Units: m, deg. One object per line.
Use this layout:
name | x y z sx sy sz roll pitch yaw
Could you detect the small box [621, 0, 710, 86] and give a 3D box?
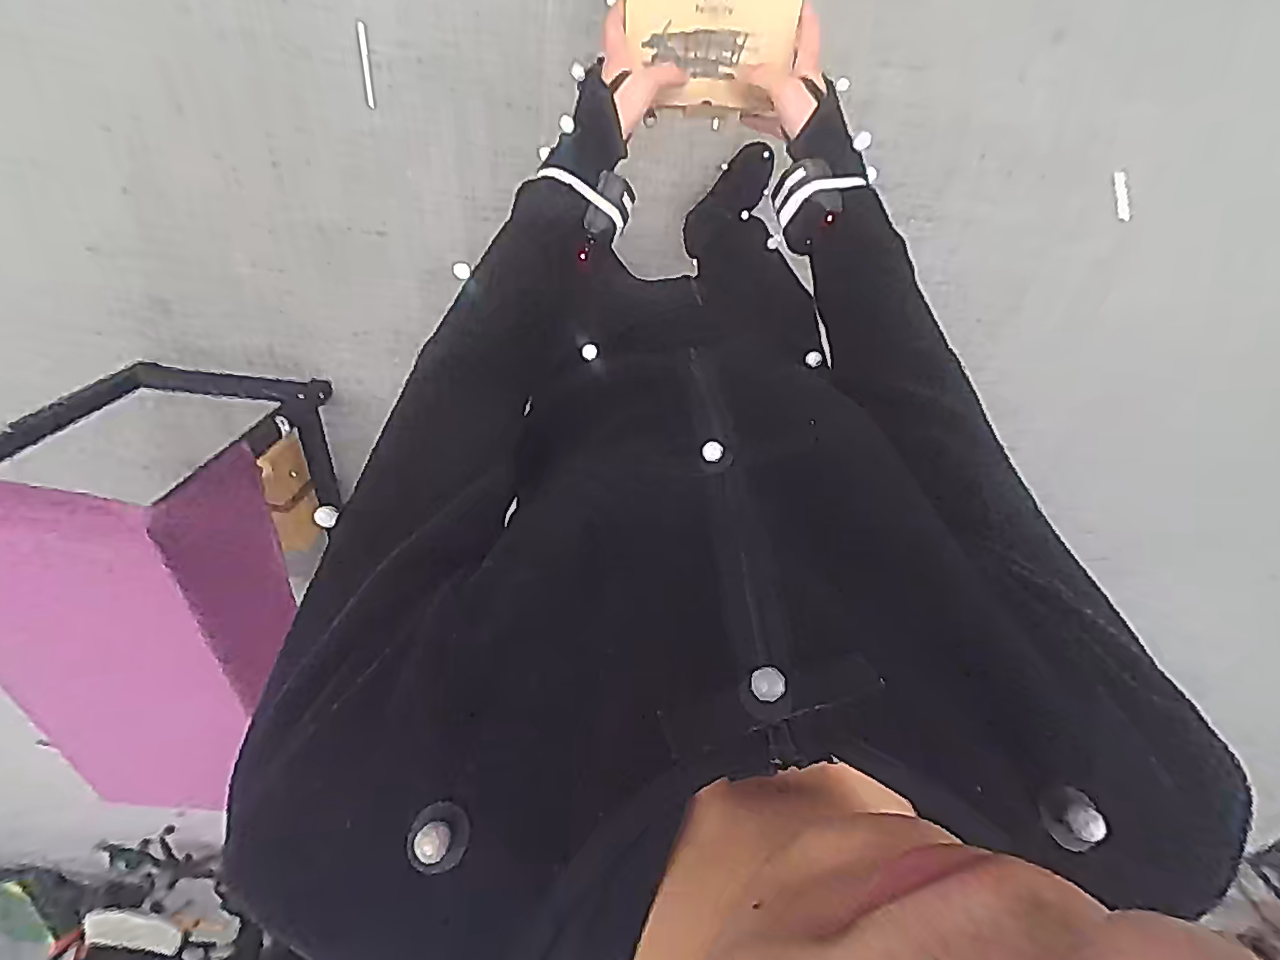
small box | 0.049 -0.920 1.102 0.168 0.176 0.179 4 125 0
